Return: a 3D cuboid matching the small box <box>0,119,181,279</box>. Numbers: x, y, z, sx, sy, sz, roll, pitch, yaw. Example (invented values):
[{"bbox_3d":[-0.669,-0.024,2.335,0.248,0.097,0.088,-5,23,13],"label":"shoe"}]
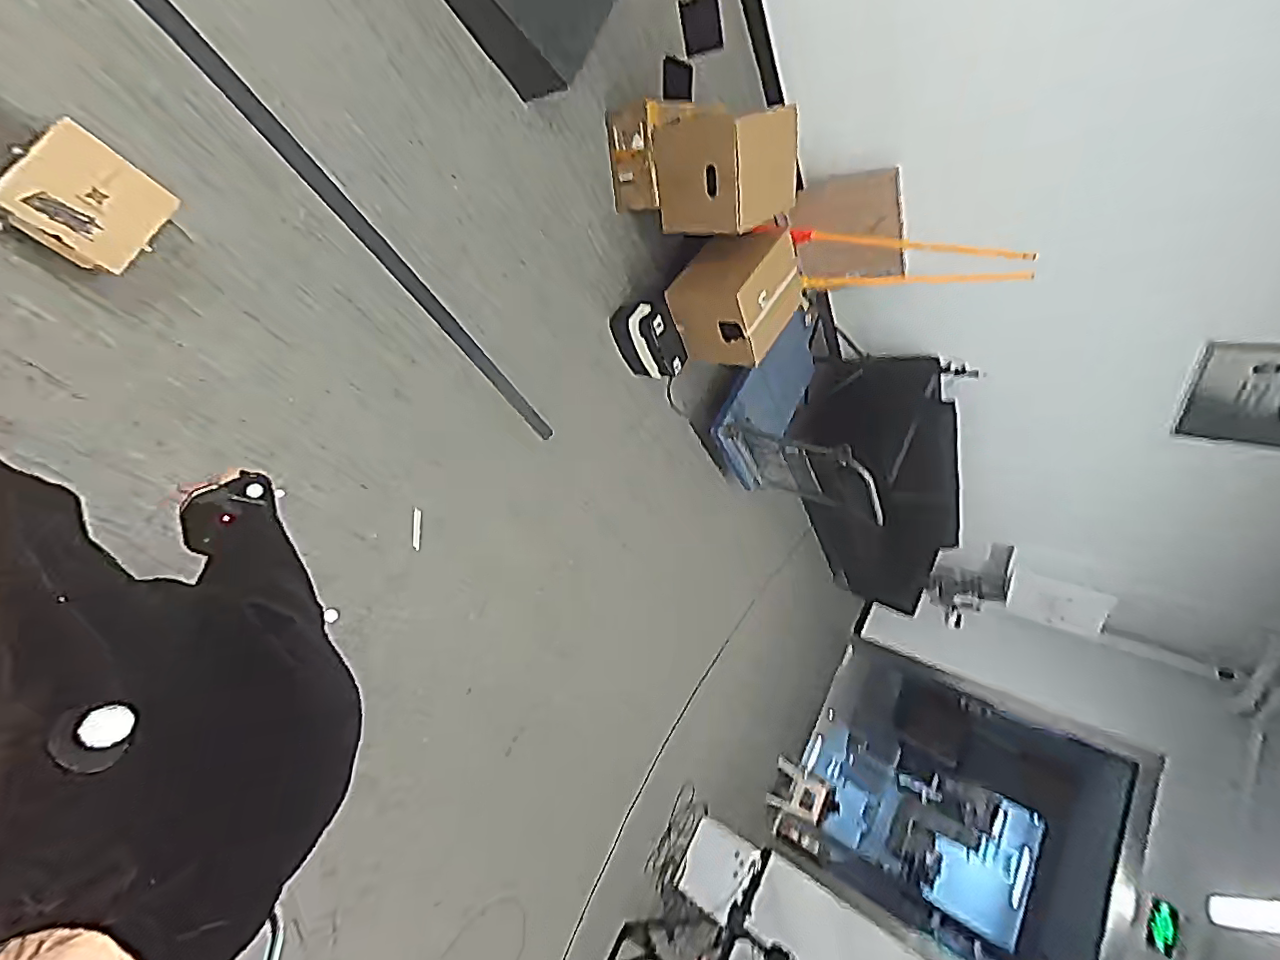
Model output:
[{"bbox_3d":[-0.945,-0.466,0.922,0.168,0.176,0.179,44,68,-49],"label":"small box"}]
